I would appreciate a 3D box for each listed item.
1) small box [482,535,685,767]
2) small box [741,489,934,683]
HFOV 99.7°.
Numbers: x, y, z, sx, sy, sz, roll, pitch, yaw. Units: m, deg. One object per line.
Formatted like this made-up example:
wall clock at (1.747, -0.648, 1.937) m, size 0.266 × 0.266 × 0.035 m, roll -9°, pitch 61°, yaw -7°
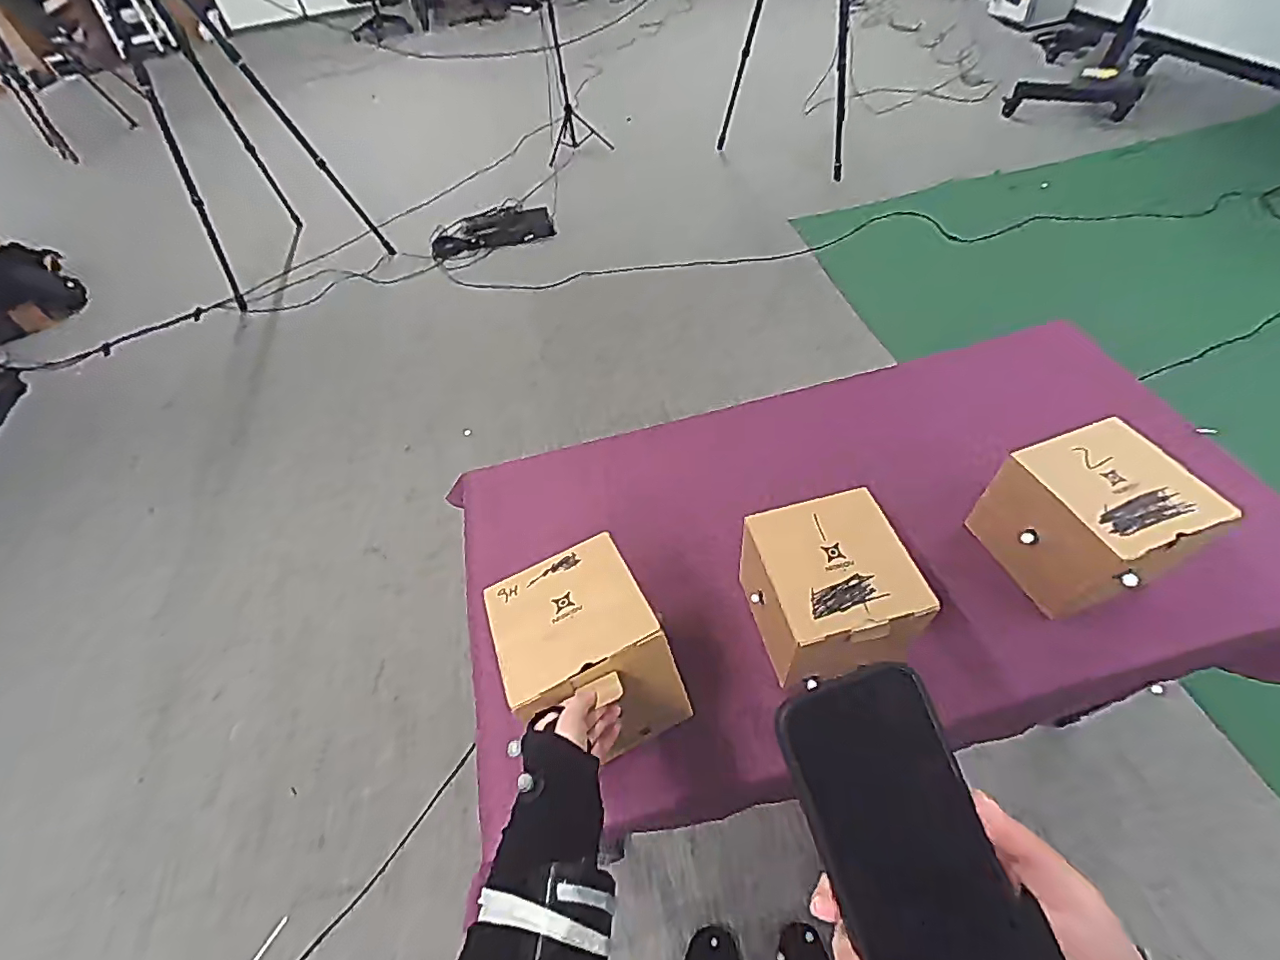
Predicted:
small box at (-0.064, 0.204, 0.638) m, size 0.168 × 0.176 × 0.179 m, roll -25°, pitch 38°, yaw -9°
small box at (0.236, 0.145, 0.699) m, size 0.168 × 0.176 × 0.179 m, roll -14°, pitch 51°, yaw -3°
